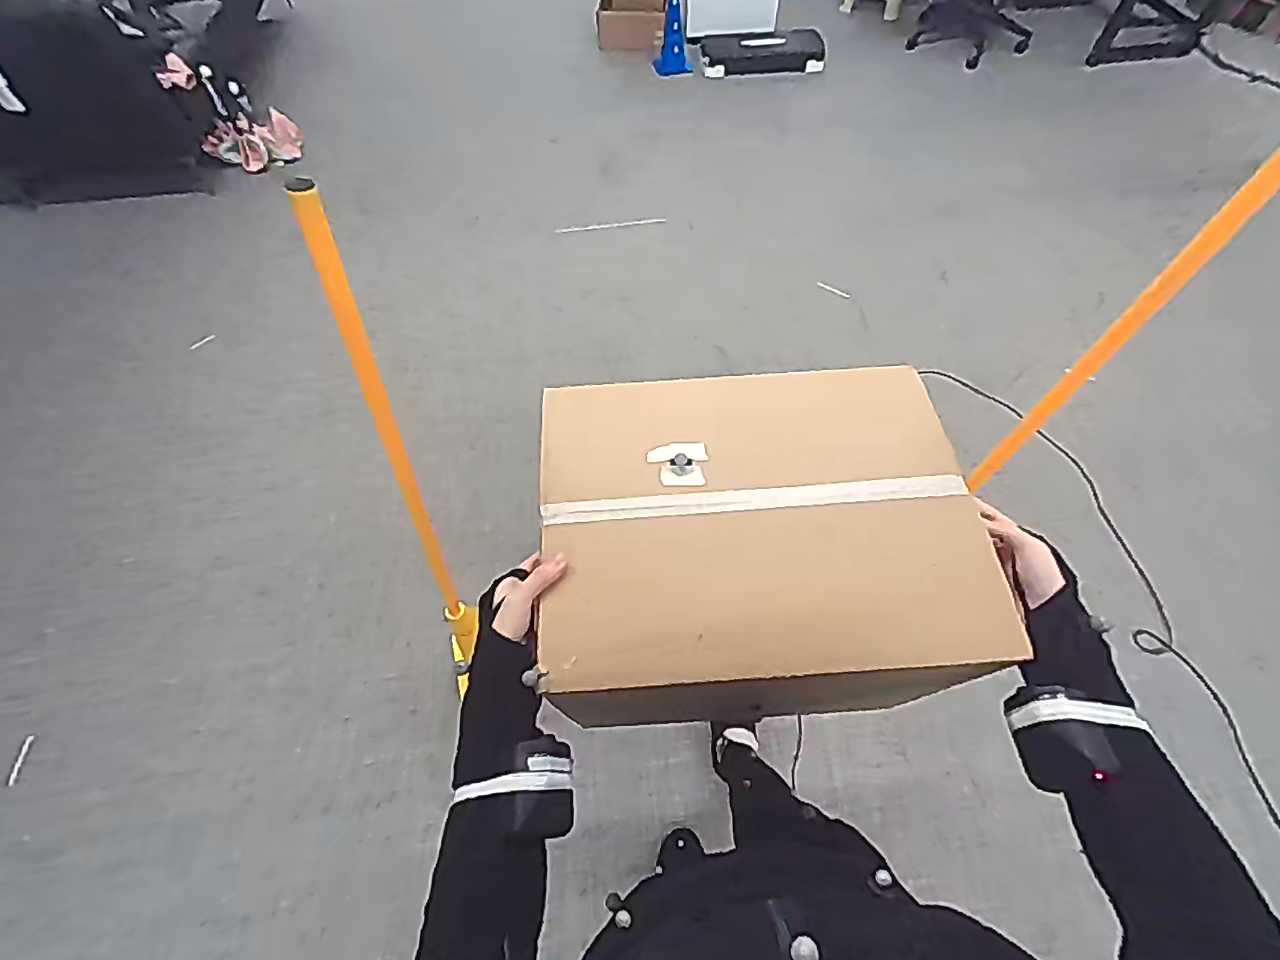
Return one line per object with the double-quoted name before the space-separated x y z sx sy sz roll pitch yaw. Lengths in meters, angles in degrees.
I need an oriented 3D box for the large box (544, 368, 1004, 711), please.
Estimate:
"large box" 0.113 0.094 0.660 0.408 0.320 0.320 -4 61 0
